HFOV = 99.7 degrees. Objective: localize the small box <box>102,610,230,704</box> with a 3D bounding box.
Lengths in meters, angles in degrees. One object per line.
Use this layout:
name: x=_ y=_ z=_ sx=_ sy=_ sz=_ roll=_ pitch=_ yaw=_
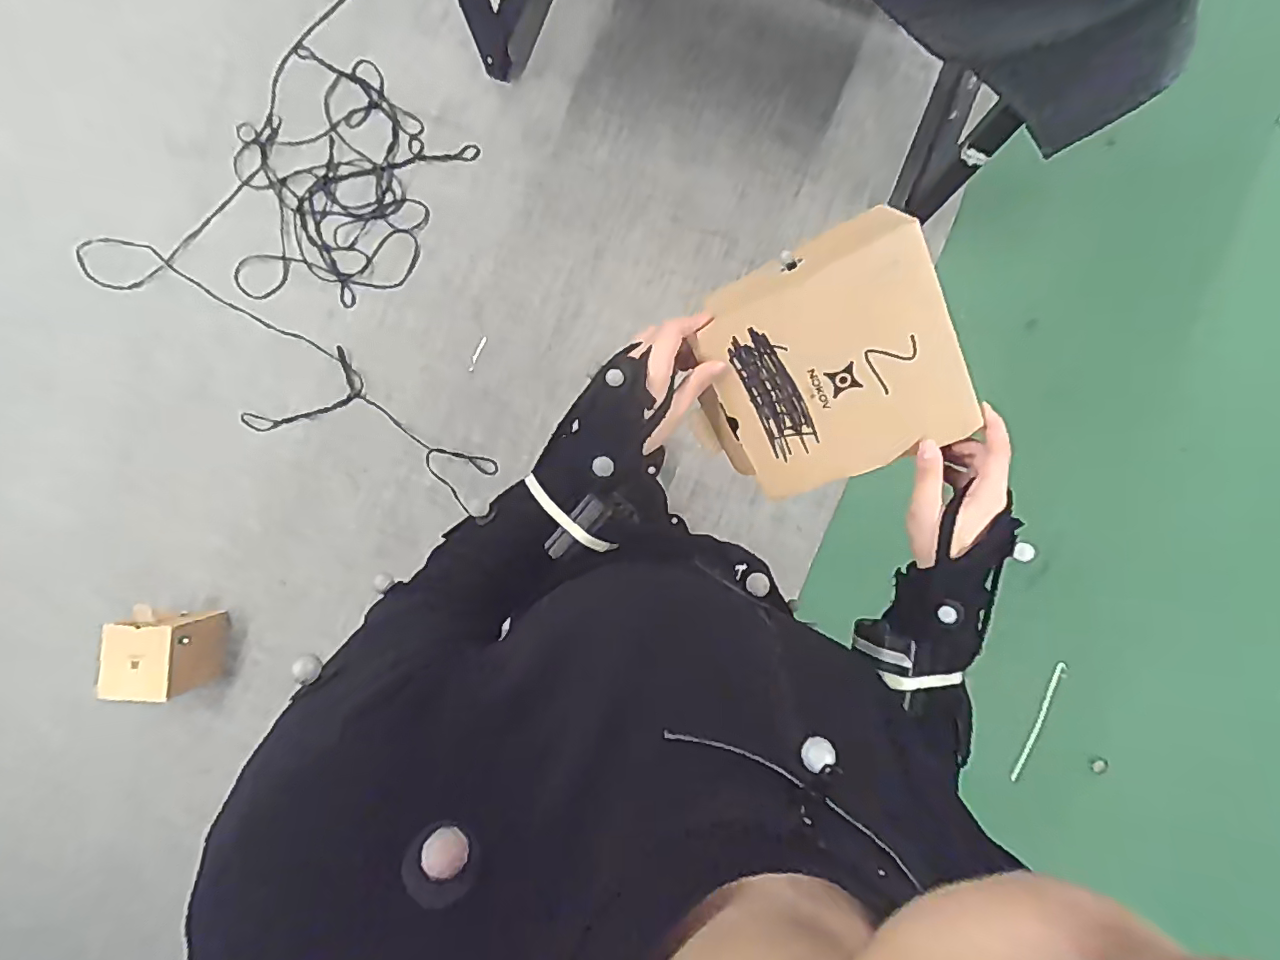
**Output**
small box: x=-1.146 y=0.425 z=1.319 sx=0.168 sy=0.176 sz=0.179 roll=2 pitch=88 yaw=2
